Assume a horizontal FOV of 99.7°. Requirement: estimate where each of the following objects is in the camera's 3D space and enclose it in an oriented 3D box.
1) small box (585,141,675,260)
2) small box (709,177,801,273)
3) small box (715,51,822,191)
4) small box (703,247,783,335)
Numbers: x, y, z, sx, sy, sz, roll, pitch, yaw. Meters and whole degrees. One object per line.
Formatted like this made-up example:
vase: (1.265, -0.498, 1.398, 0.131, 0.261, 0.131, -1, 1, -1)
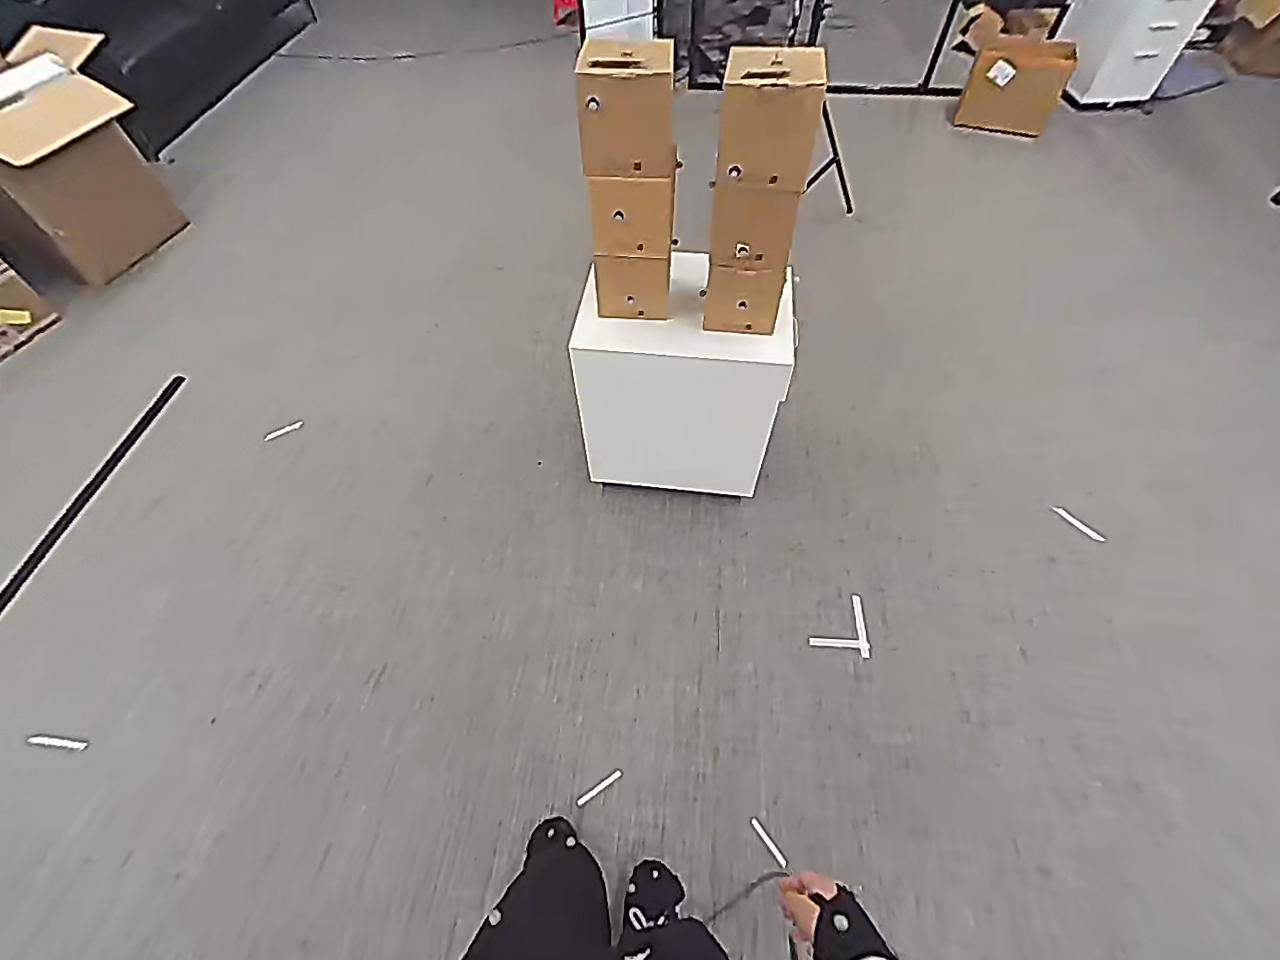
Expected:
small box: (-0.014, -0.587, 1.144, 0.168, 0.176, 0.179, 5, 55, 3)
small box: (0.233, -0.556, 1.117, 0.168, 0.176, 0.179, 5, 56, 7)
small box: (0.229, -0.647, 0.980, 0.168, 0.176, 0.179, 7, 54, 7)
small box: (0.235, -0.456, 1.247, 0.168, 0.176, 0.179, 6, 57, 7)
